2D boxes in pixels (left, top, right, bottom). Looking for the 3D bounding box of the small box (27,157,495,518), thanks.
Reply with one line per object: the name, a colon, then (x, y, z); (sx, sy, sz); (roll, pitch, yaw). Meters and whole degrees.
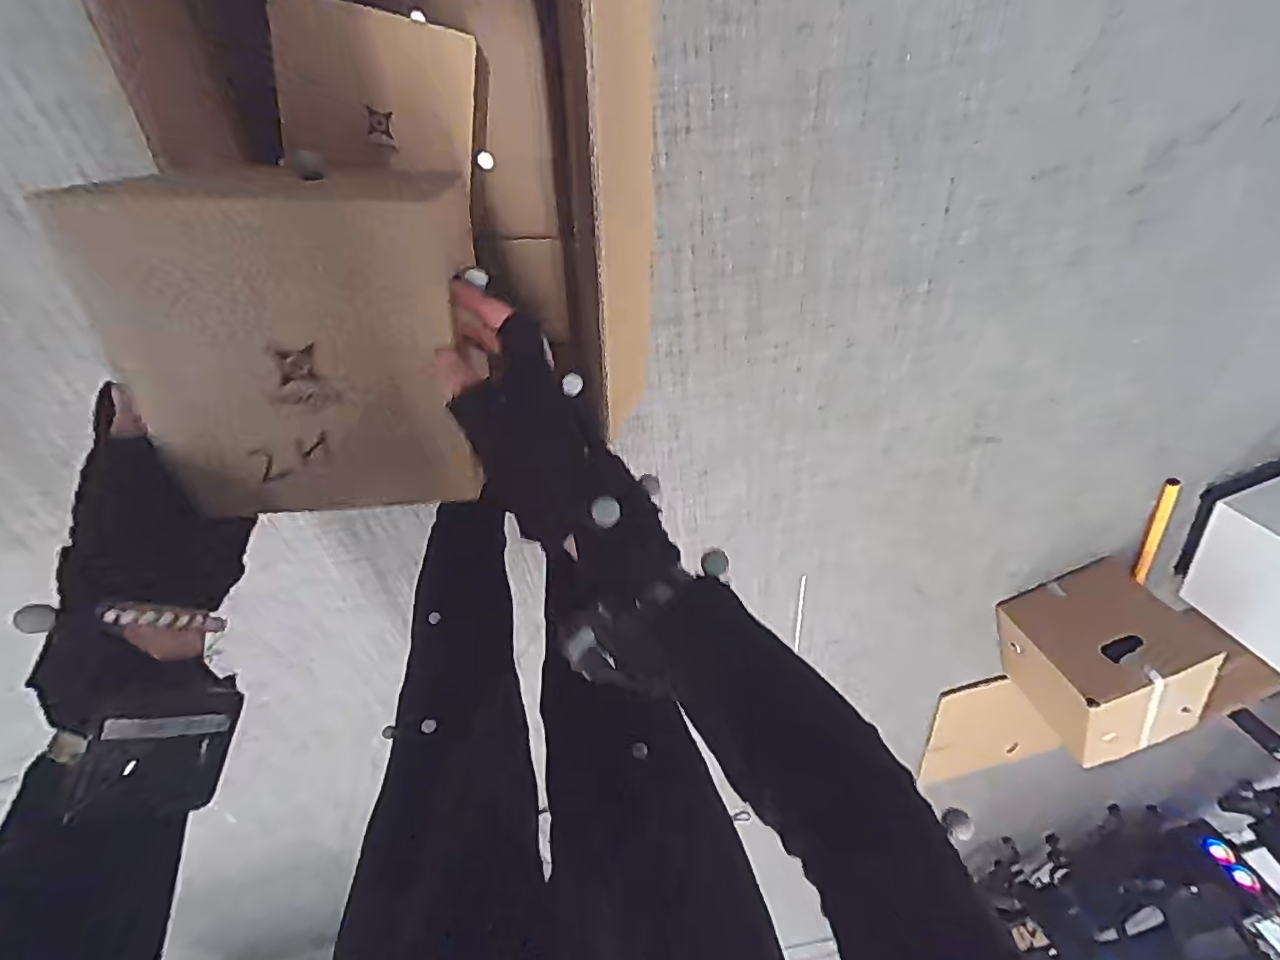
small box: (-0.190, -0.099, 0.346); (0.168, 0.176, 0.179); (-4, 127, -8)
